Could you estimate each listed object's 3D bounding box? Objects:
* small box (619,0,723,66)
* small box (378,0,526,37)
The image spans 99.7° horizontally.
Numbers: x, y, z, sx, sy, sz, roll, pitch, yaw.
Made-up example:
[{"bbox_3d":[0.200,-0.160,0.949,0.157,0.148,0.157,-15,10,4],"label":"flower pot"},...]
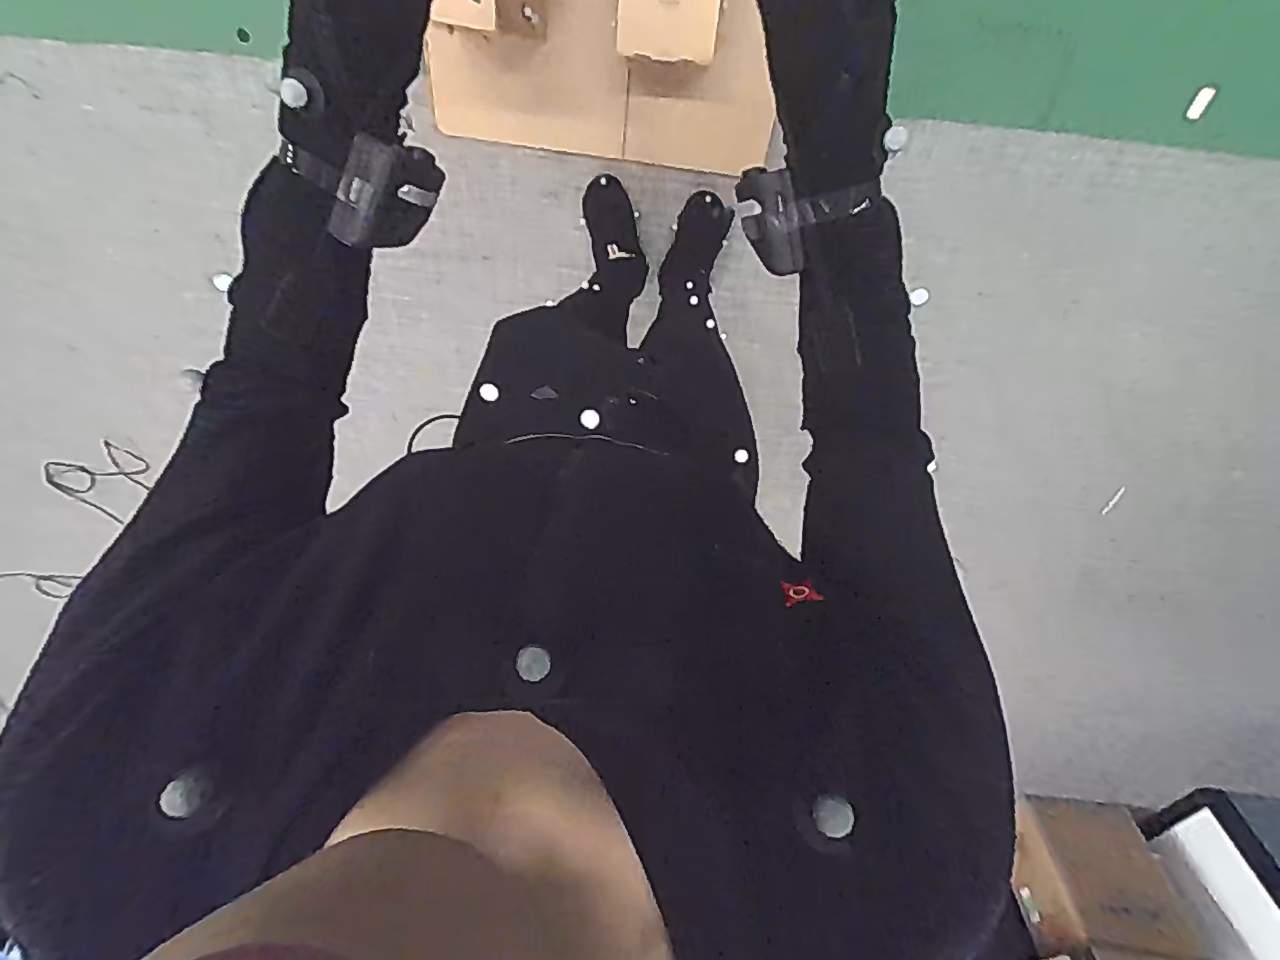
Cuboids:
[{"bbox_3d":[0.056,-0.821,0.917,0.168,0.176,0.179,6,129,1],"label":"small box"},{"bbox_3d":[-0.265,-0.761,0.781,0.179,0.176,0.168,11,128,-1],"label":"small box"}]
